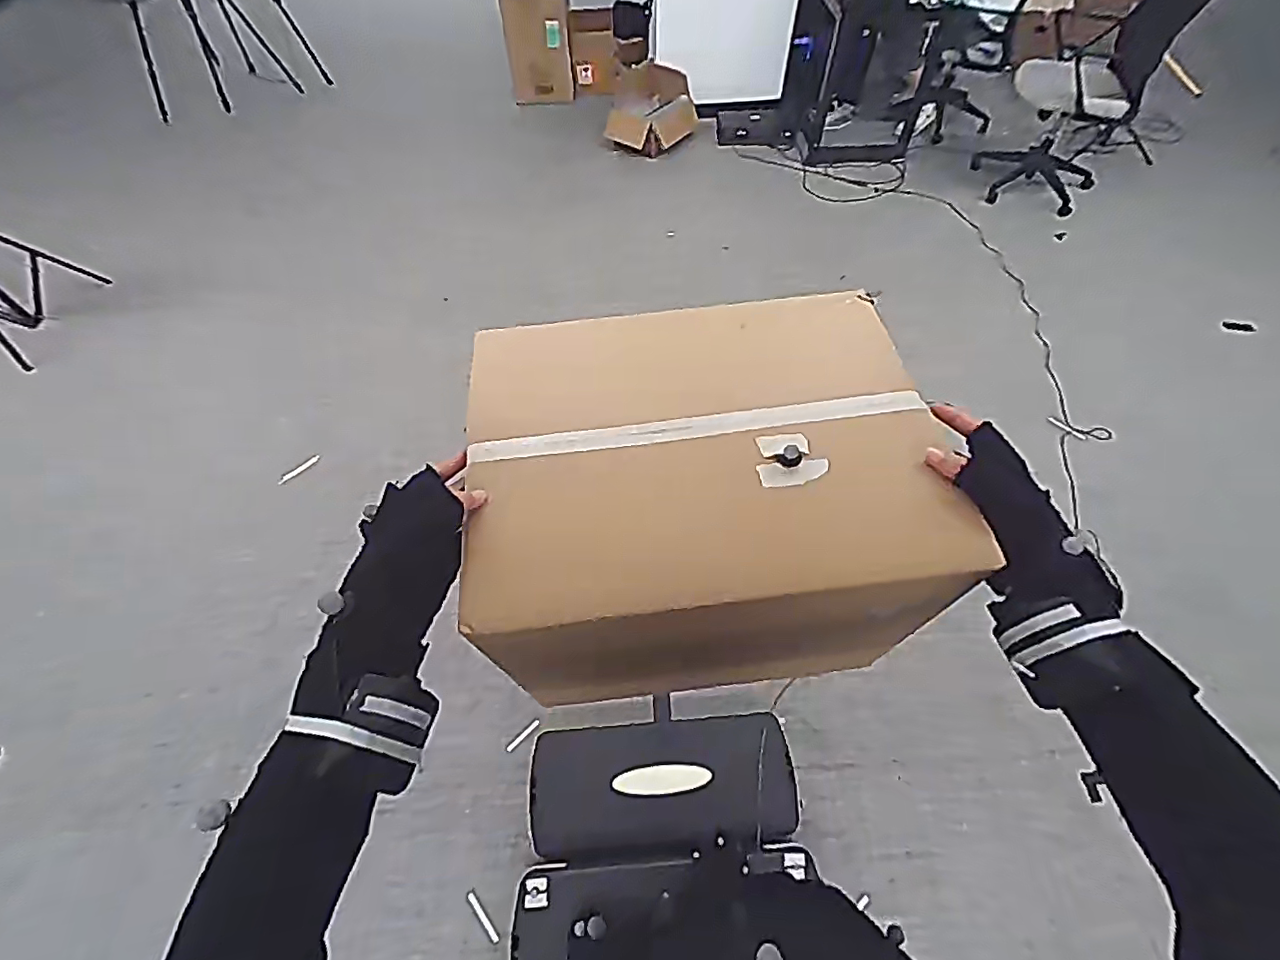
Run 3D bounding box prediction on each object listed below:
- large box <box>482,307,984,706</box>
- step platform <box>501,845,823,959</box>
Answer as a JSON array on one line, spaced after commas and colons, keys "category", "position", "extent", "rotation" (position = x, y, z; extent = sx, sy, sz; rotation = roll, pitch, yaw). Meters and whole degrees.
[{"category": "large box", "position": [0.060, 0.044, 0.617], "extent": [0.408, 0.320, 0.320], "rotation": [-7, 58, -2]}, {"category": "step platform", "position": [0.045, 1.004, 1.189], "extent": [0.684, 0.204, 0.286], "rotation": [-5, 56, -1]}]
